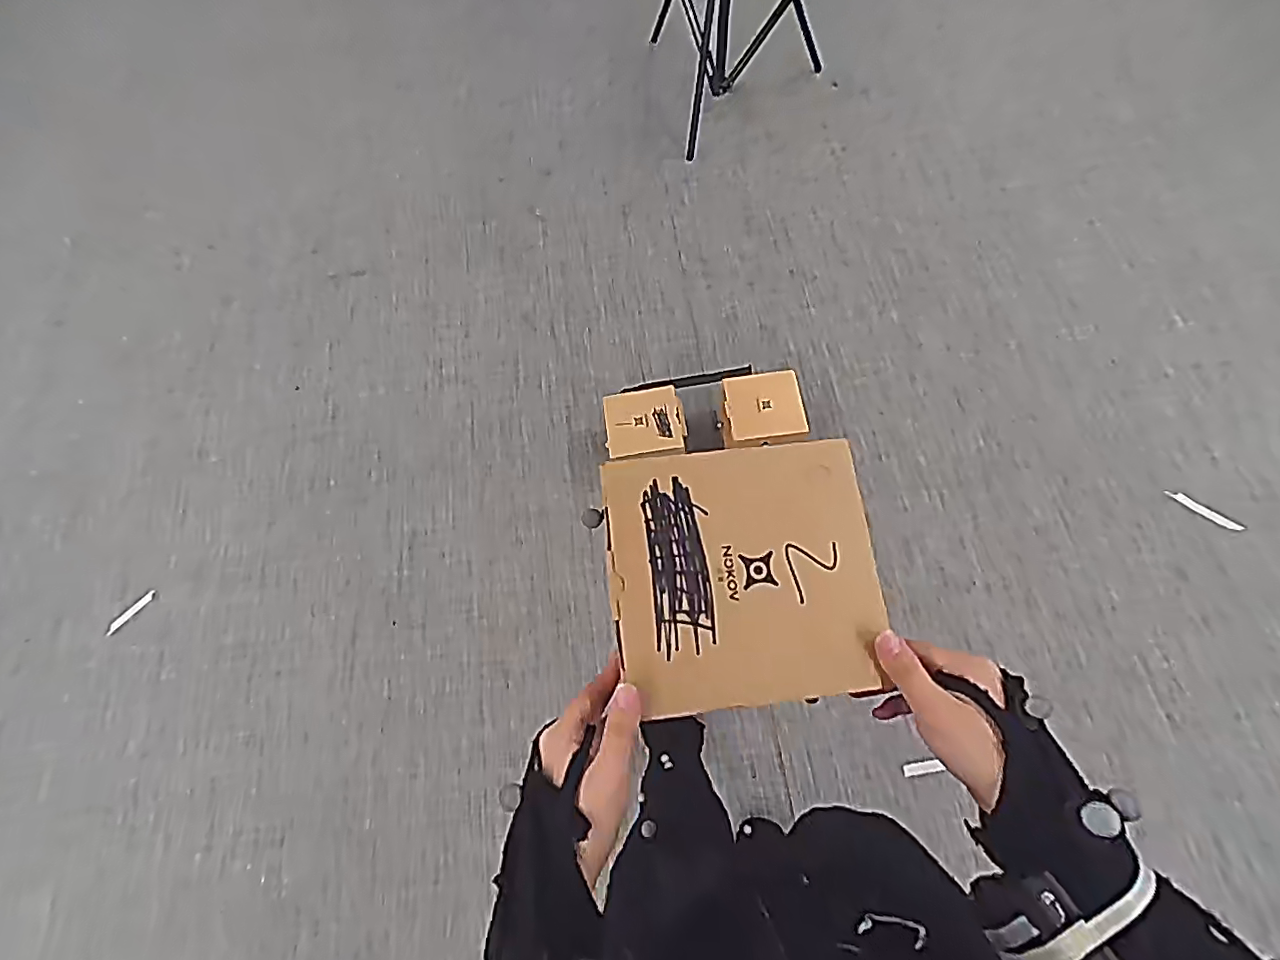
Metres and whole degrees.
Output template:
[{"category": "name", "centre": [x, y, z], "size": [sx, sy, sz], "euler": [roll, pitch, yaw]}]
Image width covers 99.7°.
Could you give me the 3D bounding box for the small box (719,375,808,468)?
[{"category": "small box", "centre": [0.297, -0.139, 1.339], "size": [0.179, 0.176, 0.168], "euler": [-7, 70, 3]}]

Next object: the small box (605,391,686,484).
[{"category": "small box", "centre": [0.016, -0.100, 1.346], "size": [0.179, 0.176, 0.168], "euler": [-8, 69, 2]}]
